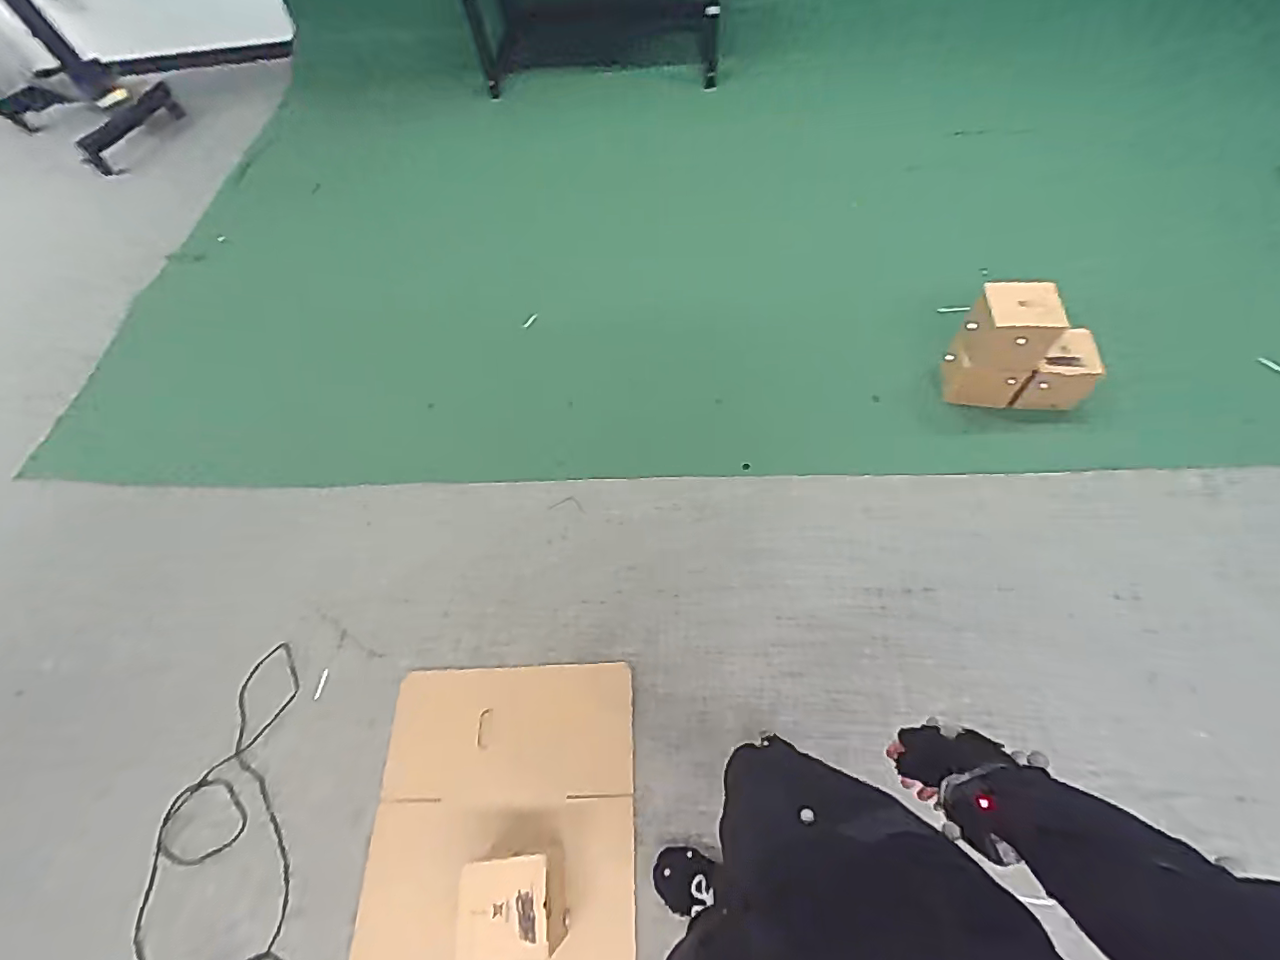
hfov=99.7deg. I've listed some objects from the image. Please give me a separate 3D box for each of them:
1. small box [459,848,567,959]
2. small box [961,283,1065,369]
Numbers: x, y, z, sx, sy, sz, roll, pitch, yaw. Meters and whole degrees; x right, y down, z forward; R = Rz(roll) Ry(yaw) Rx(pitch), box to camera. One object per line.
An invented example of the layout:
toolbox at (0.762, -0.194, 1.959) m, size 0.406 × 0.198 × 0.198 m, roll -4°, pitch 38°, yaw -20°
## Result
small box at (-0.247, 0.857, 1.092) m, size 0.179 × 0.176 × 0.168 m, roll -8°, pitch 61°, yaw 2°
small box at (1.019, -0.424, 1.498) m, size 0.179 × 0.176 × 0.168 m, roll 3°, pitch 61°, yaw 7°
